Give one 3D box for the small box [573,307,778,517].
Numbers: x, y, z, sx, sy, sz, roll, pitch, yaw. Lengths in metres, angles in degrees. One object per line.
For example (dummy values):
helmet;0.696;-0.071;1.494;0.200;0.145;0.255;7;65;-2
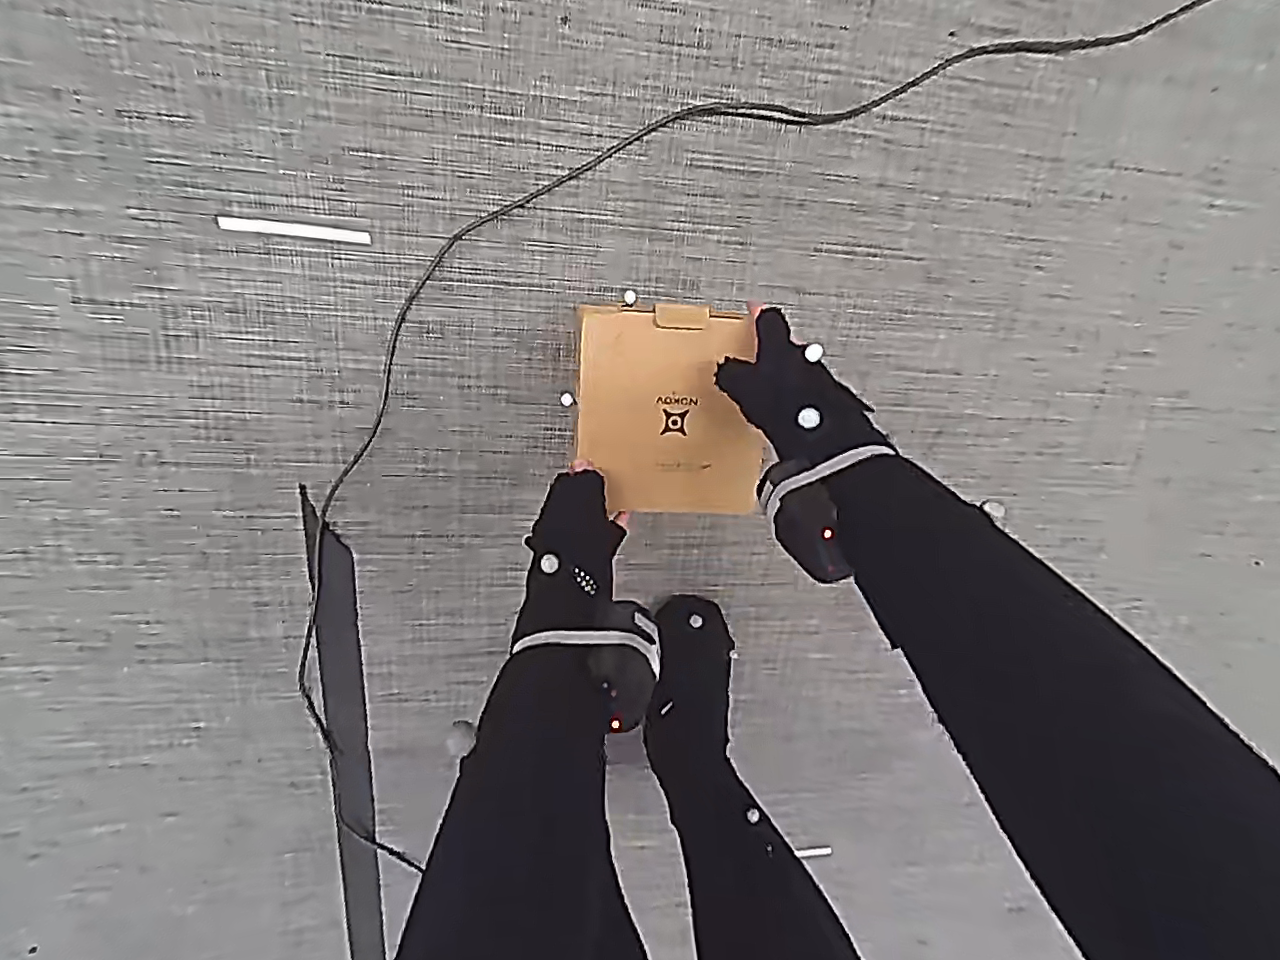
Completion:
small box;0.020;-0.075;0.539;0.168;0.176;0.179;2;108;-7
